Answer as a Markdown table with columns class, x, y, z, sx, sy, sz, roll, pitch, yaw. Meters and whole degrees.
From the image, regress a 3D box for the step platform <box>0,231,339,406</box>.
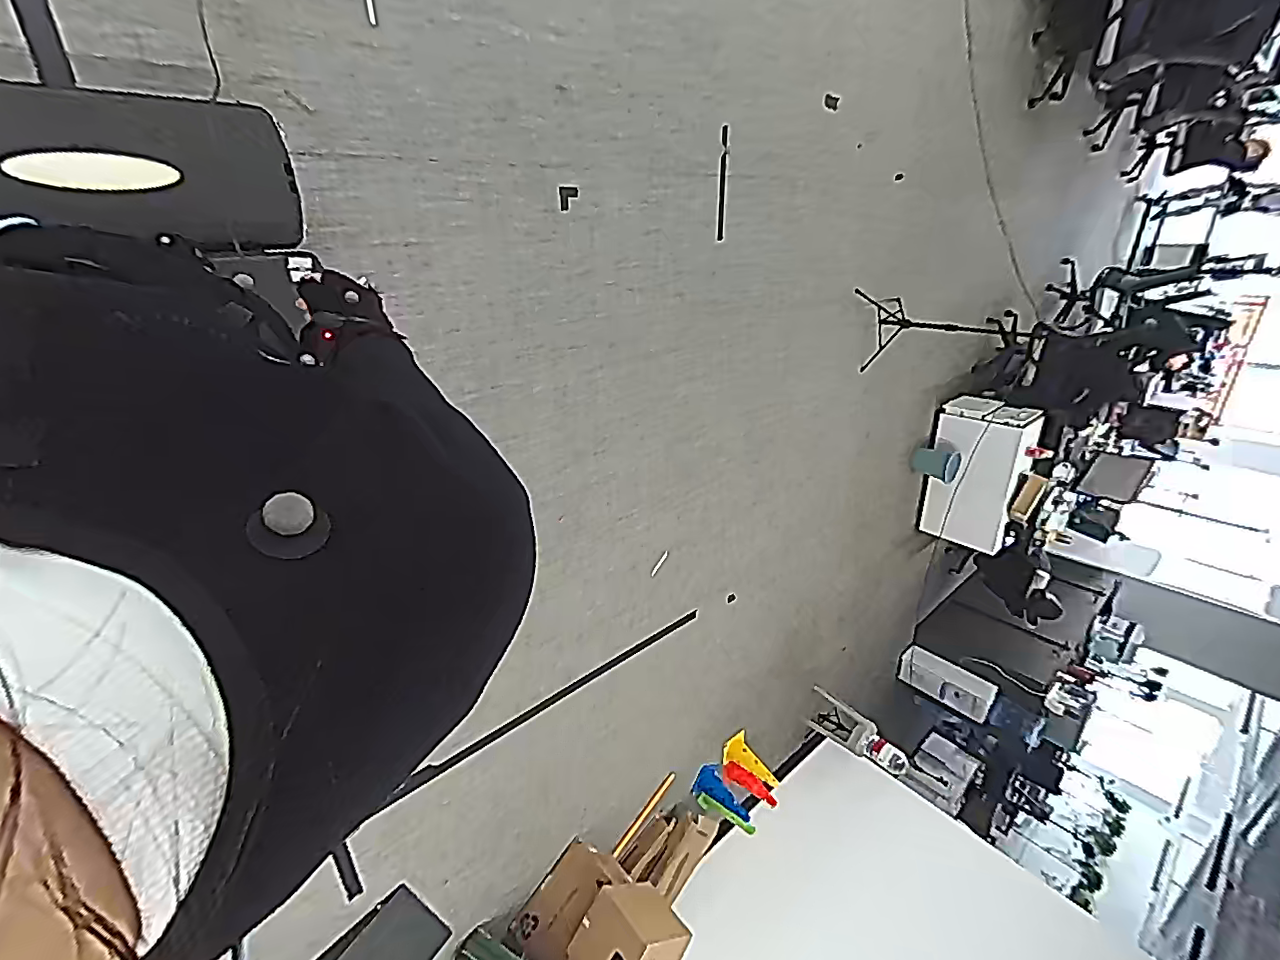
| class | x | y | z | sx | sy | sz | roll | pitch | yaw |
| --- | --- | --- | --- | --- | --- | --- | --- | --- | --- |
| step platform | -1.019 | -0.353 | 1.124 | 0.684 | 0.204 | 0.286 | -21 | 119 | -34 |
